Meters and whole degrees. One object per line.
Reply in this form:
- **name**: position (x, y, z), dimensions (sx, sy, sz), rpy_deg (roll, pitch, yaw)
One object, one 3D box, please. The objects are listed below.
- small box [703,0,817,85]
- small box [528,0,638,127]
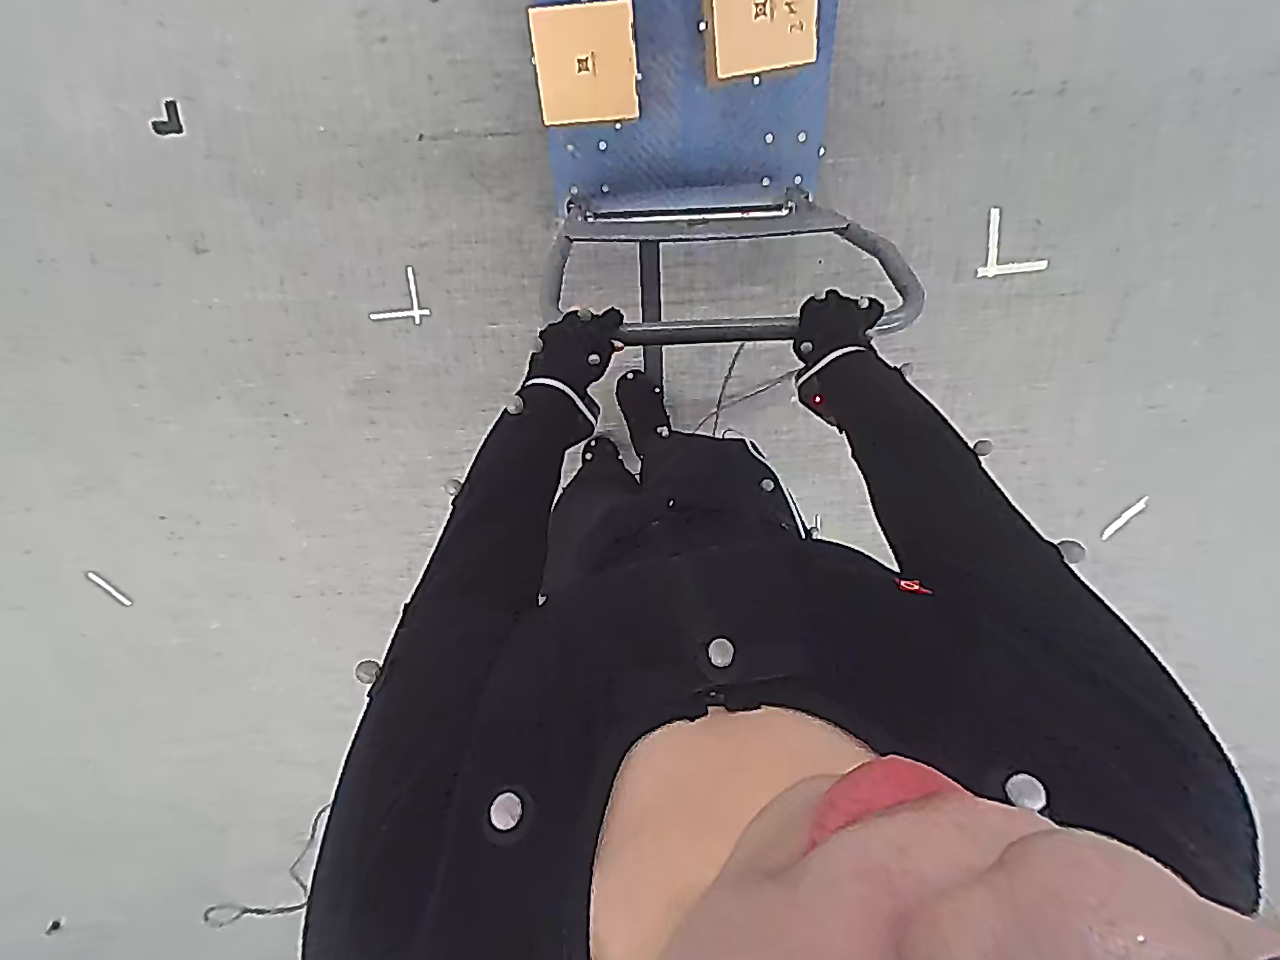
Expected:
- **small box**: position (0.207, -0.827, 0.968), dimensions (0.179, 0.176, 0.168), rpy_deg (-7, 121, 4)
- **small box**: position (-0.096, -0.763, 1.005), dimensions (0.179, 0.176, 0.168), rpy_deg (-5, 121, 1)
